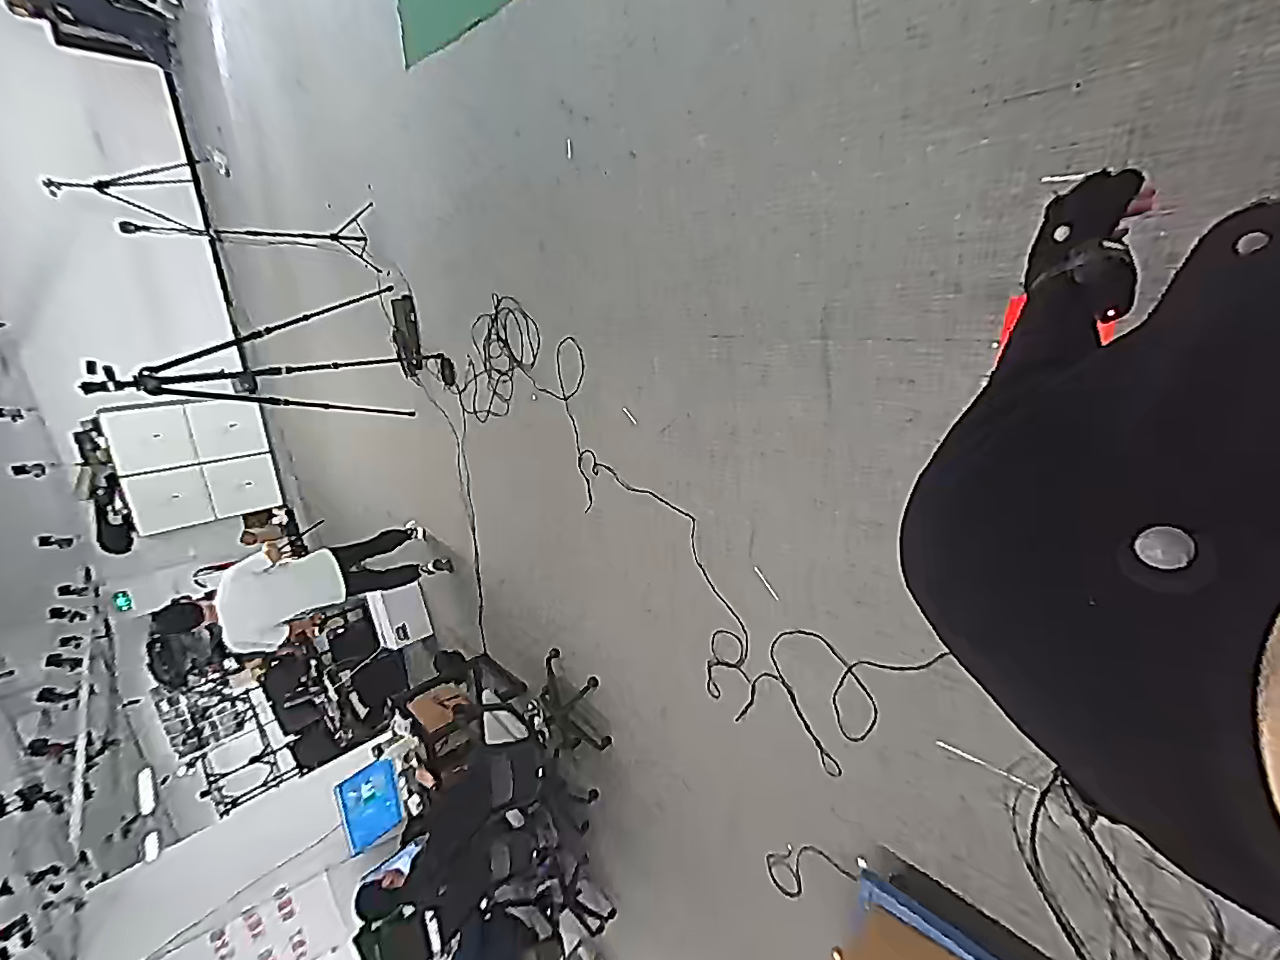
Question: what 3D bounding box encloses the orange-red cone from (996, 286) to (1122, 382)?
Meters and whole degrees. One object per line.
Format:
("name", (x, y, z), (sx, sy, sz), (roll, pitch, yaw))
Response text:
("orange-red cone", (0.801, -0.287, 1.088), (0.198, 0.360, 0.199), (21, 118, 41))
